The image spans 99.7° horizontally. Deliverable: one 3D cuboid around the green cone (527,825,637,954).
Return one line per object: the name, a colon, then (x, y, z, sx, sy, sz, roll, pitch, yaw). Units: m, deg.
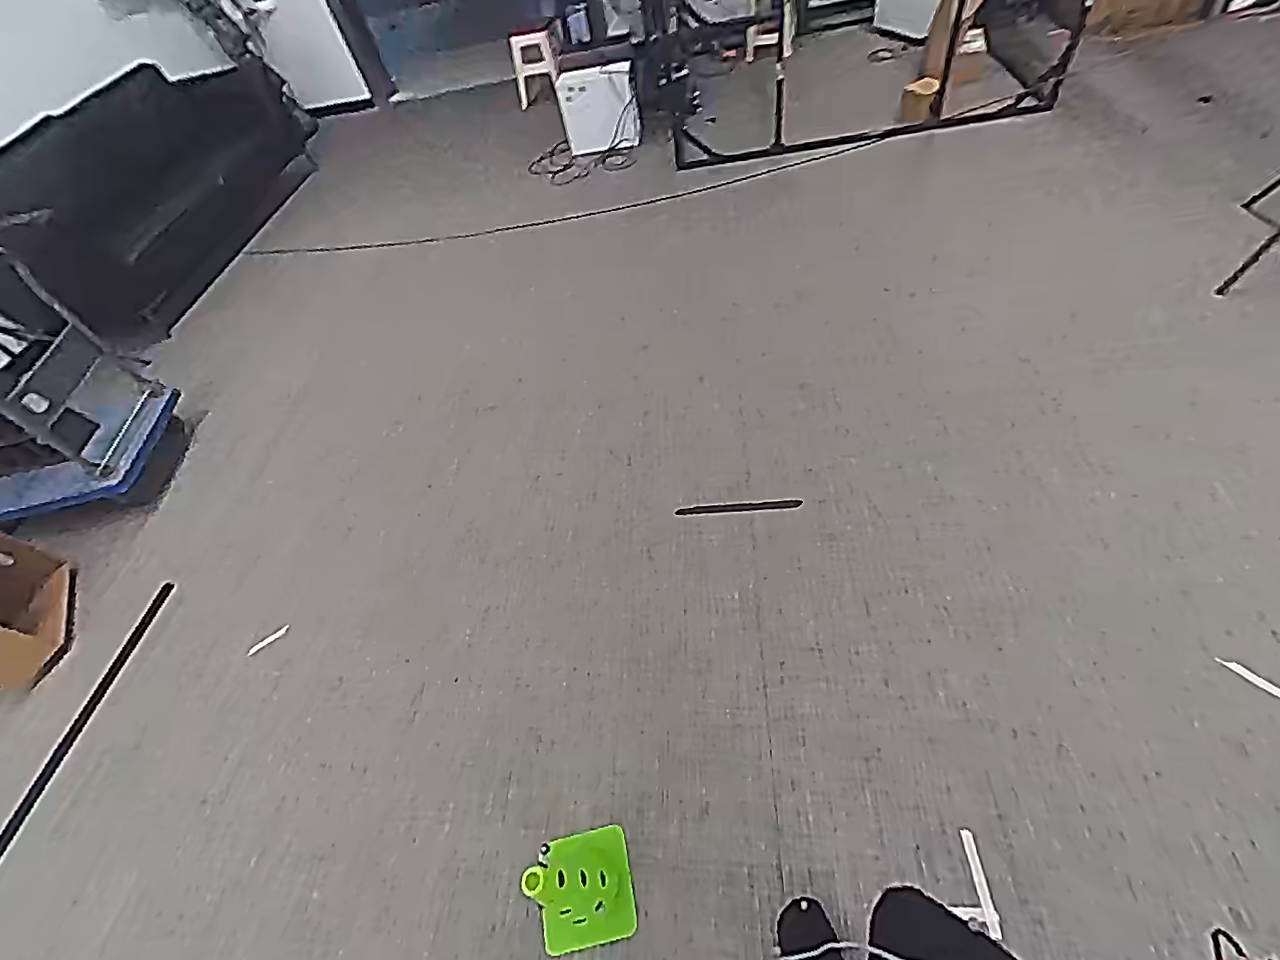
green cone: (-0.145, 0.777, 1.035, 0.202, 0.368, 0.200, -15, 51, -1)
